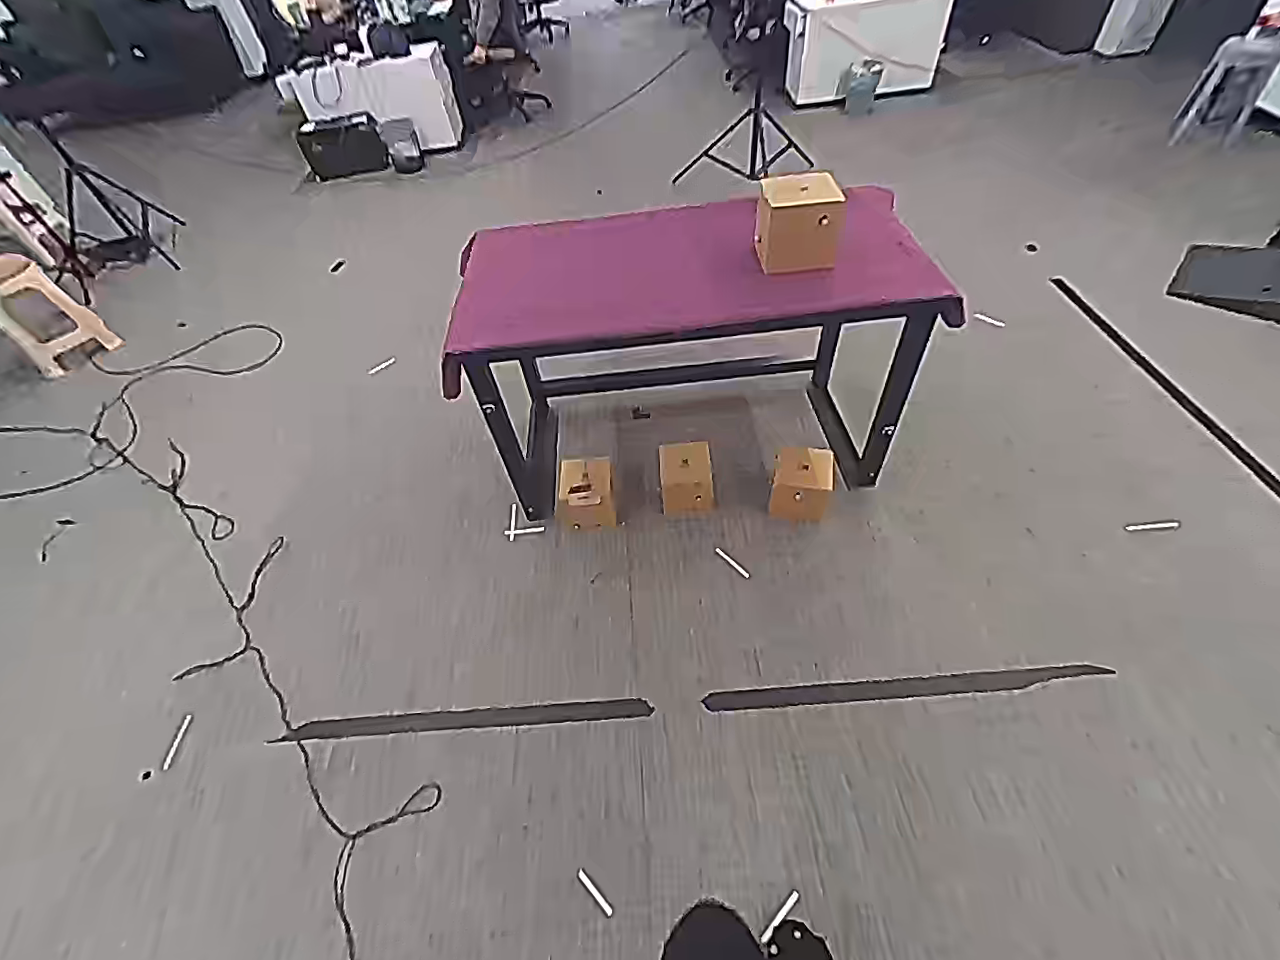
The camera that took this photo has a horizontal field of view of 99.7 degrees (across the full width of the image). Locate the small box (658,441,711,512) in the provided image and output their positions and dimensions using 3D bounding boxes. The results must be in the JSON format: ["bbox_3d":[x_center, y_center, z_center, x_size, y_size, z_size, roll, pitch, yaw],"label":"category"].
[{"bbox_3d":[0.150,-0.005,1.808,0.168,0.176,0.179,-4,49,2],"label":"small box"}]

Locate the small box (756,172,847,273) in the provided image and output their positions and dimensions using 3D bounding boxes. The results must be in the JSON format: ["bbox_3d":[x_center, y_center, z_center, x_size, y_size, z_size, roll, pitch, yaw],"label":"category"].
[{"bbox_3d":[0.394,-0.642,1.355,0.179,0.176,0.168,-5,49,3],"label":"small box"}]

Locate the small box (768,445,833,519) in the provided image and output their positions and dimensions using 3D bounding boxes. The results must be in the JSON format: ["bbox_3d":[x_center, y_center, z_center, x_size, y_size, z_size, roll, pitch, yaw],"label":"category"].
[{"bbox_3d":[0.519,0.010,1.754,0.179,0.176,0.168,7,52,13],"label":"small box"}]

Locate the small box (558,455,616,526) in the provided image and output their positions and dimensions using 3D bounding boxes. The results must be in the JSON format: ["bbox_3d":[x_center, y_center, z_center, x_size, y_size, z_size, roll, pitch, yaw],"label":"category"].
[{"bbox_3d":[-0.170,0.043,1.802,0.168,0.176,0.179,-5,49,2],"label":"small box"}]
